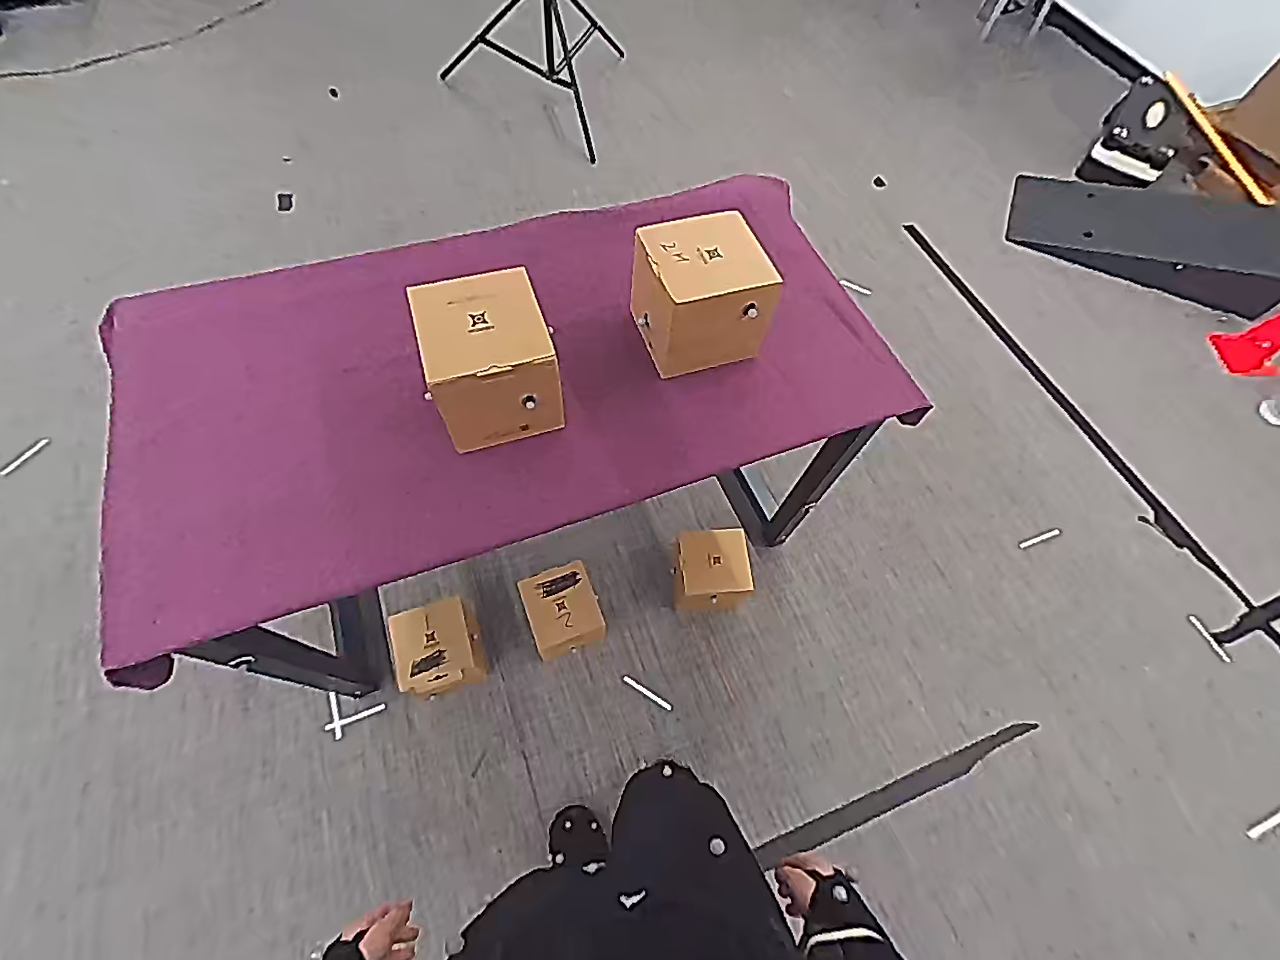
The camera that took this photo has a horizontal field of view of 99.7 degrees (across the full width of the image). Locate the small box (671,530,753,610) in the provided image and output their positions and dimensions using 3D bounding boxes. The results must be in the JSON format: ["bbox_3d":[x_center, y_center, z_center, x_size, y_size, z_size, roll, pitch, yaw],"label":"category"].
[{"bbox_3d":[0.183,0.241,1.429,0.179,0.176,0.168,-3,63,-5],"label":"small box"}]

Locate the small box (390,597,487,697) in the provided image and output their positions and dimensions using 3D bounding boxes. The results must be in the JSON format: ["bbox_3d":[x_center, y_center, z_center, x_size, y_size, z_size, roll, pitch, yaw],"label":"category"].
[{"bbox_3d":[-0.474,0.405,1.291,0.168,0.176,0.179,-17,64,-13],"label":"small box"}]

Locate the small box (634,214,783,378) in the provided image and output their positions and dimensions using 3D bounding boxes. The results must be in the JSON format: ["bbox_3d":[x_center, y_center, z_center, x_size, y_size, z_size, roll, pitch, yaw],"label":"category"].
[{"bbox_3d":[0.098,-0.292,0.873,0.179,0.176,0.168,-16,64,-12],"label":"small box"}]

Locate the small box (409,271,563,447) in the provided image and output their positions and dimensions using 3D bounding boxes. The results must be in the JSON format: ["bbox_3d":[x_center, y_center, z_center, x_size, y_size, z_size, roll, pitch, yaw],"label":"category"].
[{"bbox_3d":[-0.215,-0.166,0.785,0.168,0.176,0.179,-16,63,-14],"label":"small box"}]
